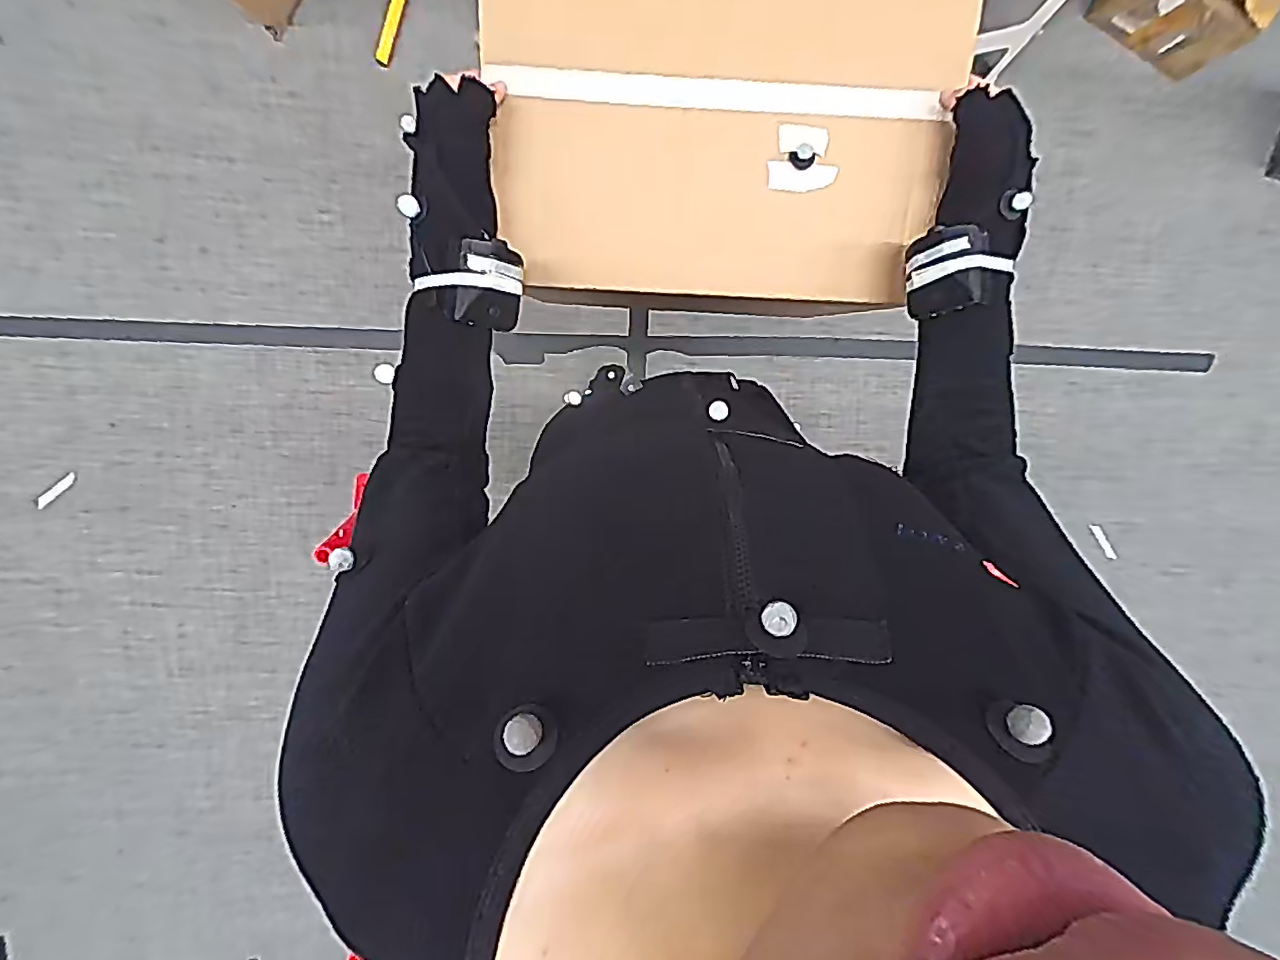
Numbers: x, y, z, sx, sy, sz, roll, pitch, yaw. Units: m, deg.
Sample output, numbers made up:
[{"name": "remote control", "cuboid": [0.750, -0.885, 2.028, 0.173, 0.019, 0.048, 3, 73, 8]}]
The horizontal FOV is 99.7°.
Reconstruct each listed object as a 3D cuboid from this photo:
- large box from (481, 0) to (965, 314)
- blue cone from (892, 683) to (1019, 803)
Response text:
[{"name": "large box", "cuboid": [0.060, -0.358, 0.601, 0.408, 0.320, 0.320, 2, 105, -3]}, {"name": "blue cone", "cuboid": [0.881, 0.736, 1.492, 0.192, 0.380, 0.193, 5, 100, -5]}]
